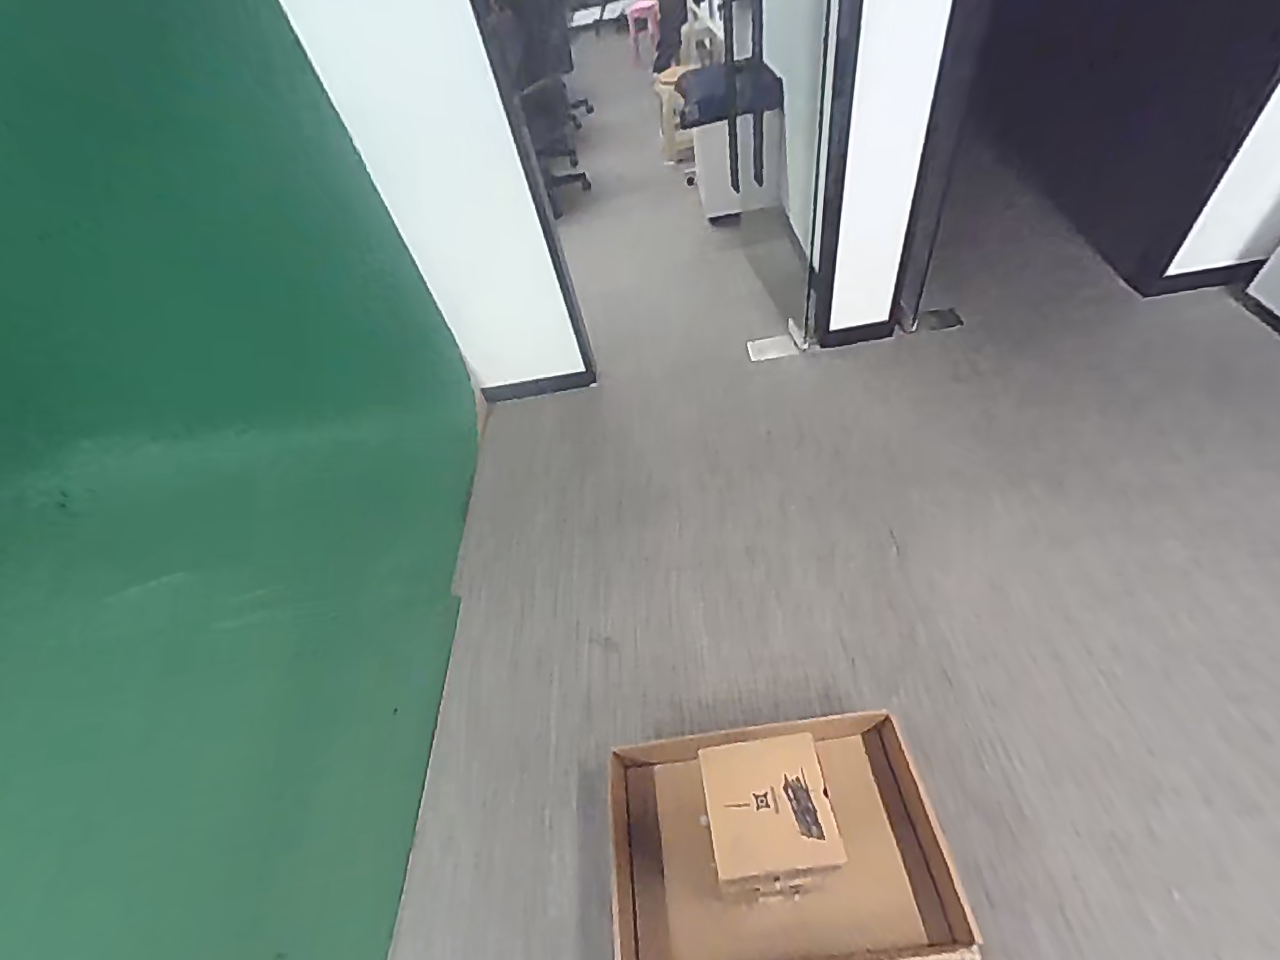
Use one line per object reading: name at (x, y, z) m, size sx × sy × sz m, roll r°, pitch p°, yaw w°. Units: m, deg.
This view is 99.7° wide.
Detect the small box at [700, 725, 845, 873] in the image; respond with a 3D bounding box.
small box at (0.196, 0.499, 0.841) m, size 0.179 × 0.176 × 0.168 m, roll -11°, pitch 50°, yaw 4°

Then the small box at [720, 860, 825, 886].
small box at (0.214, 0.597, 0.951) m, size 0.168 × 0.176 × 0.179 m, roll -12°, pitch 50°, yaw 3°
